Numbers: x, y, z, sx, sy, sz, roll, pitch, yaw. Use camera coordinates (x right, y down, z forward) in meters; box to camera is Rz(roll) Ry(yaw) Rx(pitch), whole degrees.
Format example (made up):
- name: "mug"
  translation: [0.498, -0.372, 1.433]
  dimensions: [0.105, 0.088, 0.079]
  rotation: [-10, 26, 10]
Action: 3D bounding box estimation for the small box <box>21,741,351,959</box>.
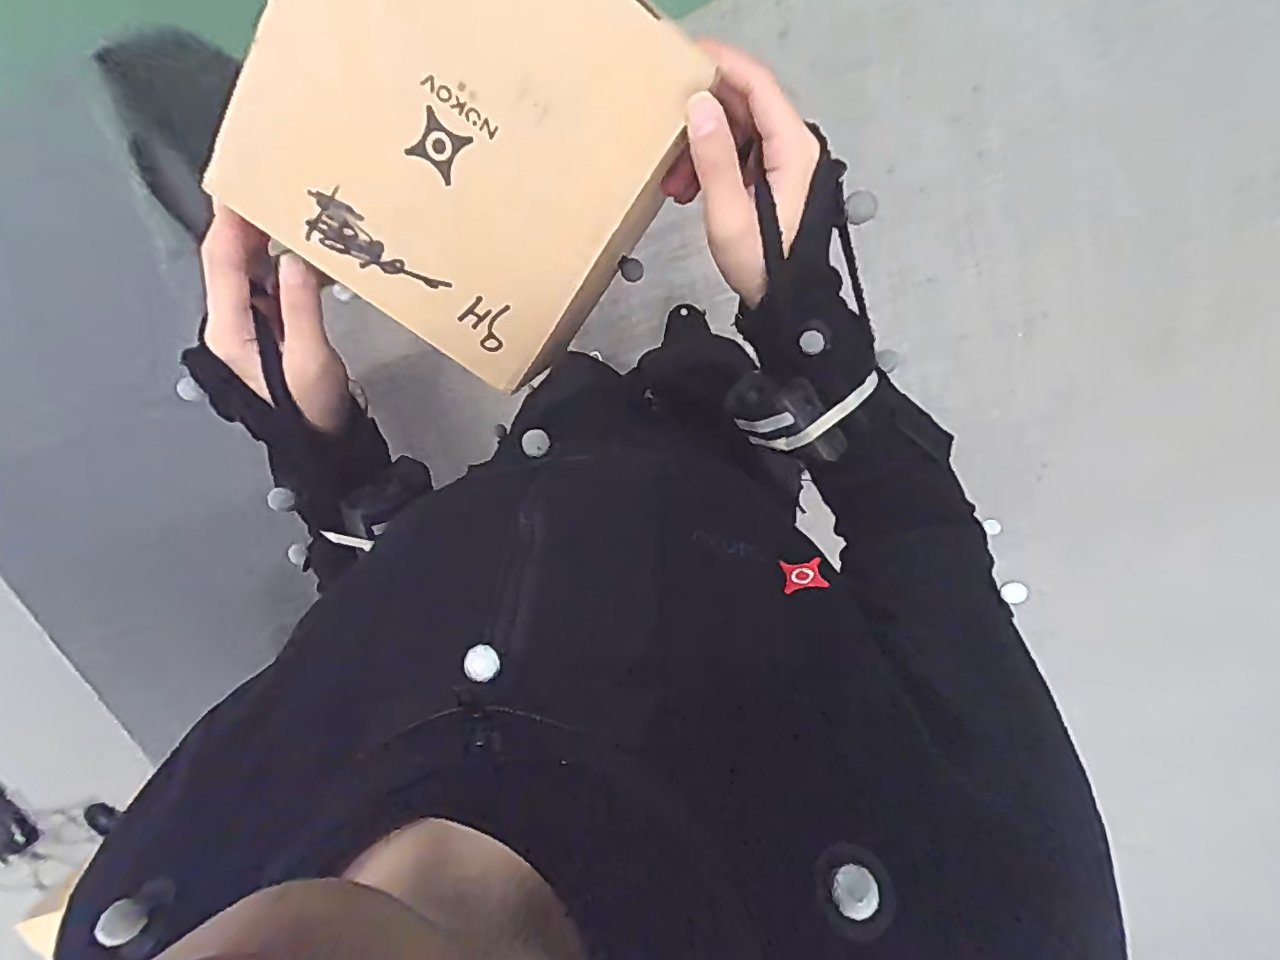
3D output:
- name: "small box"
  translation: [-0.458, 0.422, 0.580]
  dimensions: [0.168, 0.176, 0.179]
  rotation: [-24, 105, 14]
